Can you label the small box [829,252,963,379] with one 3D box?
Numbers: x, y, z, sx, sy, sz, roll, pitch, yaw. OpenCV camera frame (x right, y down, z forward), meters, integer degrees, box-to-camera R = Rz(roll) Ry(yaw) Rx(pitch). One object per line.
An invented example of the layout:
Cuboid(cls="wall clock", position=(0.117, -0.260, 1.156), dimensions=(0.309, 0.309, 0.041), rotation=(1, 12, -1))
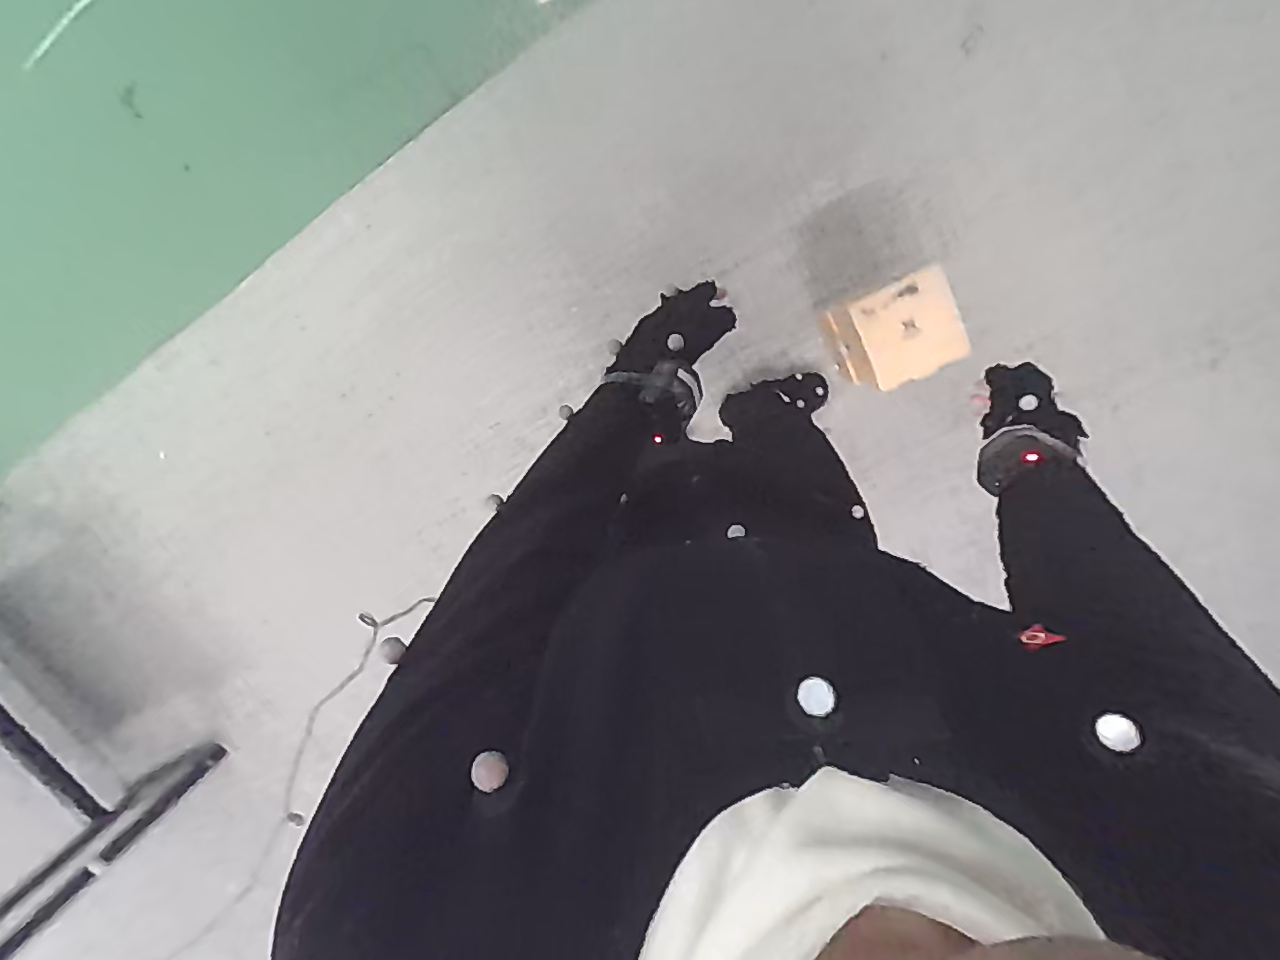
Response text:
Cuboid(cls="small box", position=(0.484, -0.319, 1.043), dimensions=(0.168, 0.176, 0.179), rotation=(-23, 105, 14))
